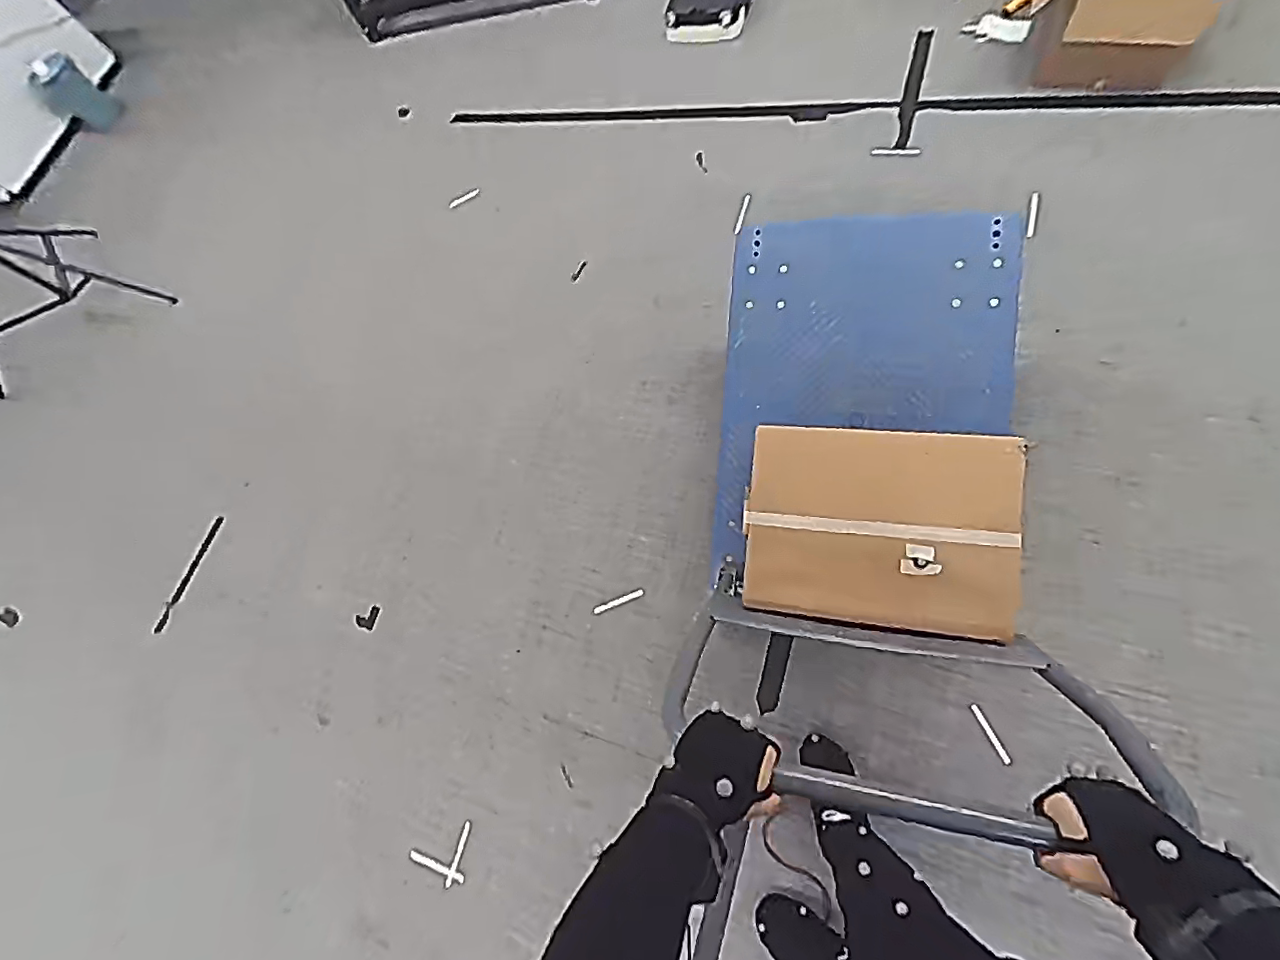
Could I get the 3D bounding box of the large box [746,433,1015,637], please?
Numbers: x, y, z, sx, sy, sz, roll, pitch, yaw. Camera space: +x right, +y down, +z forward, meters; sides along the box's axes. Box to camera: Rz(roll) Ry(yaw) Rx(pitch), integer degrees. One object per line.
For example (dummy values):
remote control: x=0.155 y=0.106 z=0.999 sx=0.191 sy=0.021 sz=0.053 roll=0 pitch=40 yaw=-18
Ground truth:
large box: x=0.418 y=0.087 z=1.029 sx=0.408 sy=0.320 sz=0.320 roll=4 pitch=90 yaw=15
